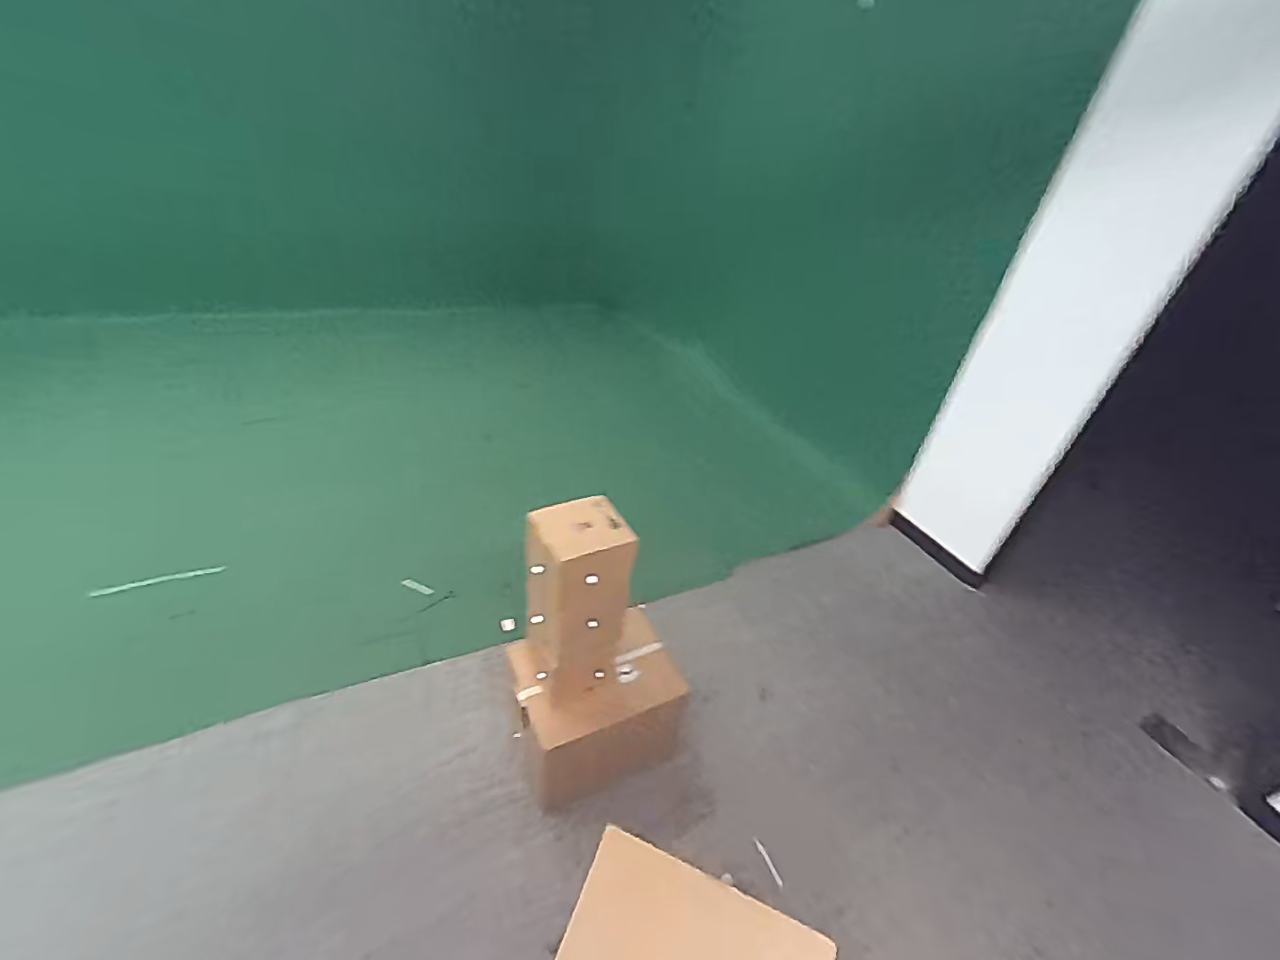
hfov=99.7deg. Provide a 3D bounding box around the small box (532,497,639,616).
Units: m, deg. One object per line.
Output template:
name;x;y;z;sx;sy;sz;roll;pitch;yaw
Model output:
small box;-0.121;0.164;1.162;0.179;0.176;0.168;-13;41;-27

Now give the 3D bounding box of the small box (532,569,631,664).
small box;-0.141;0.296;1.259;0.179;0.176;0.168;-14;41;-30

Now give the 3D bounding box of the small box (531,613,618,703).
small box;-0.167;0.429;1.351;0.168;0.176;0.179;-11;39;-26

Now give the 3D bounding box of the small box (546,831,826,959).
small box;0.011;0.397;0.397;0.179;0.176;0.168;20;49;12

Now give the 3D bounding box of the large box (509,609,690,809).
large box;-0.127;0.624;1.510;0.408;0.320;0.320;-10;40;-26
